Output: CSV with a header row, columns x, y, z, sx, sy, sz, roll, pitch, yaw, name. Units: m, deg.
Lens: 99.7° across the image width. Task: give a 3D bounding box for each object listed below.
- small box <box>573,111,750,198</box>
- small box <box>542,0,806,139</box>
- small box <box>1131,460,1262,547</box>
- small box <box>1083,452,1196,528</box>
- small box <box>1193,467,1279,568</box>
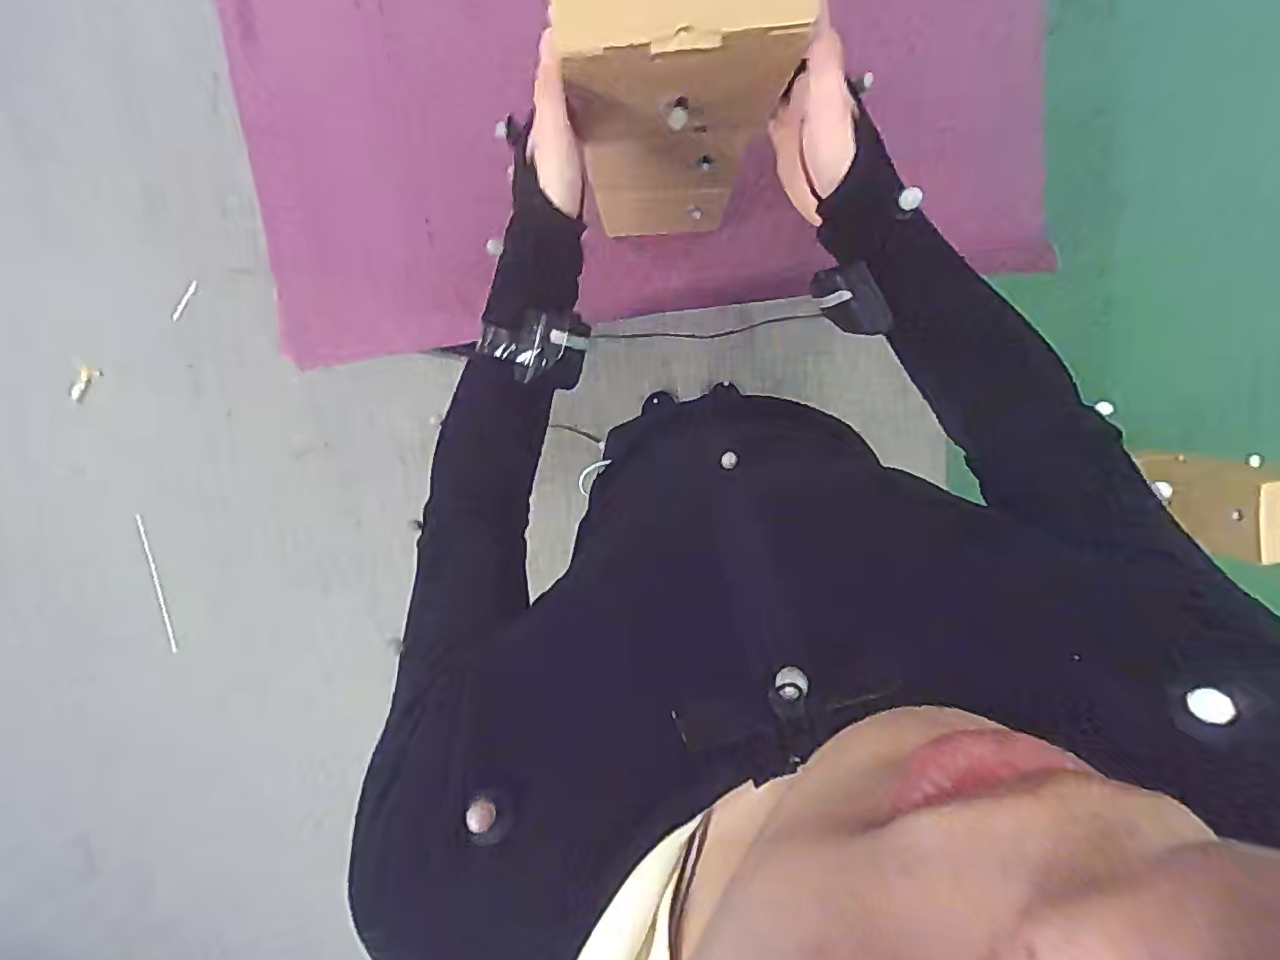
x,y,z,sx,sy,sz,roll,pitch,yaw,name
0.021,-0.430,0.595,0.179,0.176,0.168,-2,97,3,small box
0.020,-0.371,0.394,0.168,0.176,0.179,-4,105,3,small box
1.367,0.053,1.335,0.168,0.176,0.179,-9,96,4,small box
1.371,0.024,1.494,0.168,0.176,0.179,-6,98,3,small box
1.361,0.072,1.171,0.168,0.176,0.179,-10,98,5,small box
